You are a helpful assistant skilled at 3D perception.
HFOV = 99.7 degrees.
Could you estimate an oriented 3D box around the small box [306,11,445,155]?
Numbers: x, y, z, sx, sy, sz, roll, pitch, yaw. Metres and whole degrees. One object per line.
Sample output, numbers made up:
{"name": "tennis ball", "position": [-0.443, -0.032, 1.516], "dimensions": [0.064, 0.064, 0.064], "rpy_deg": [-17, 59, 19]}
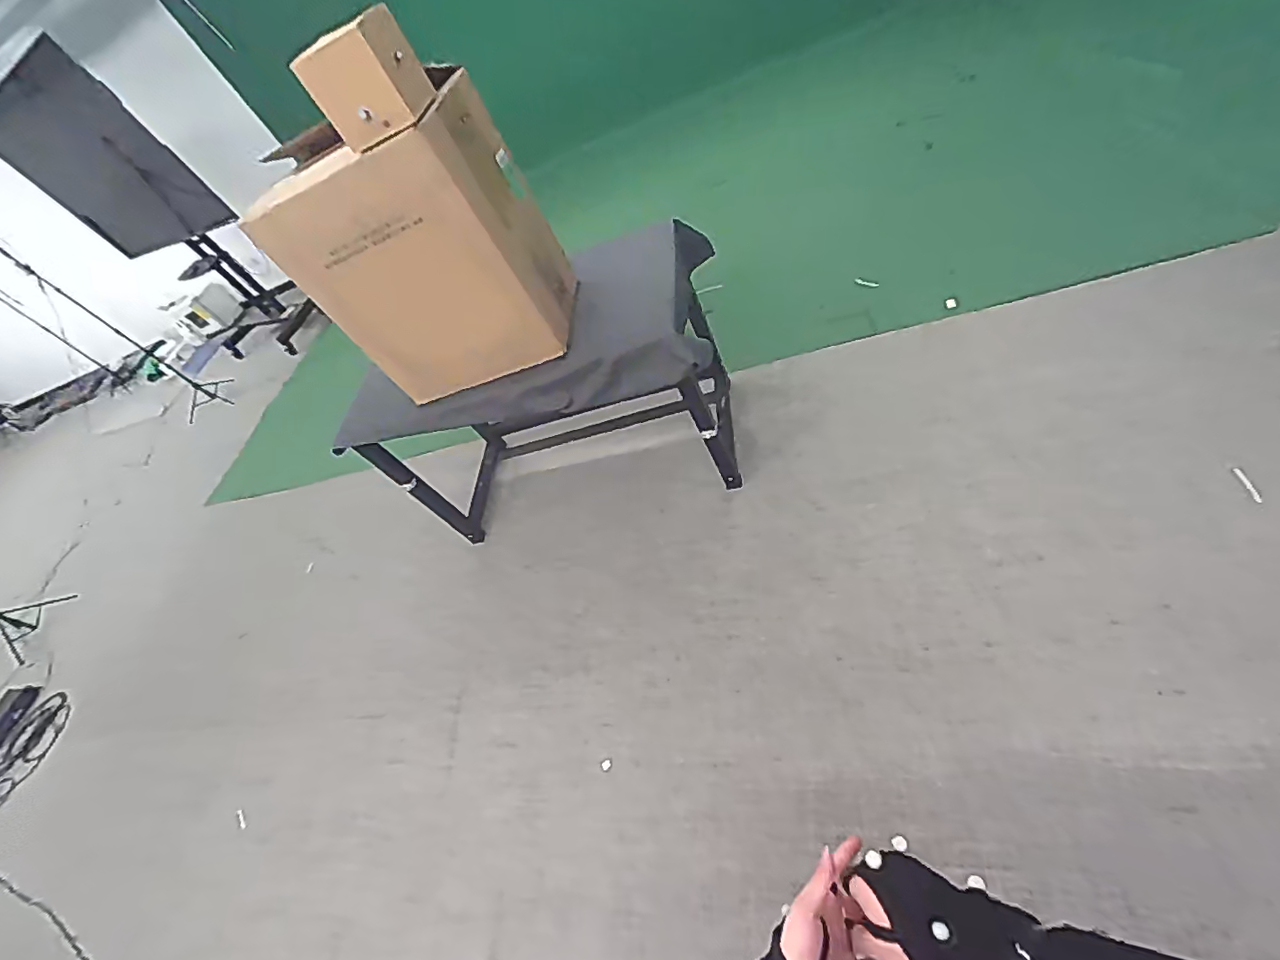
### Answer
{"name": "small box", "position": [-0.532, -0.812, 1.116], "dimensions": [0.168, 0.176, 0.179], "rpy_deg": [-13, 50, 18]}
